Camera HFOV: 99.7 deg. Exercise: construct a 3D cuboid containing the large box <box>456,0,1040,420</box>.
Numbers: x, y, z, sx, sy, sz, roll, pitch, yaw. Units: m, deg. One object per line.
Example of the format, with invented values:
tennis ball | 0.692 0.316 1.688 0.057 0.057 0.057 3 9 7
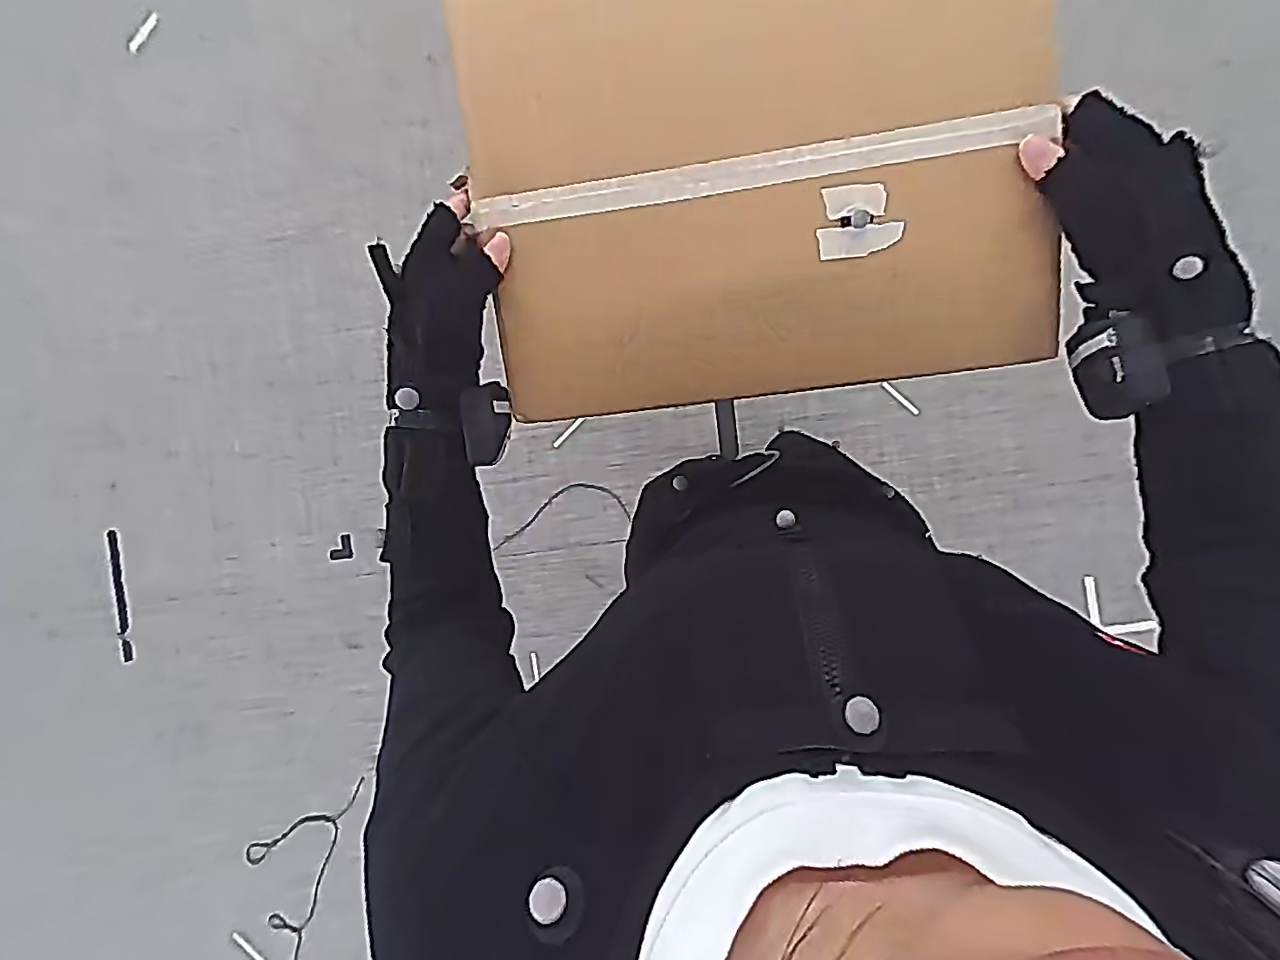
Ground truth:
large box | 0.090 -0.249 0.542 0.408 0.320 0.320 -7 101 4
